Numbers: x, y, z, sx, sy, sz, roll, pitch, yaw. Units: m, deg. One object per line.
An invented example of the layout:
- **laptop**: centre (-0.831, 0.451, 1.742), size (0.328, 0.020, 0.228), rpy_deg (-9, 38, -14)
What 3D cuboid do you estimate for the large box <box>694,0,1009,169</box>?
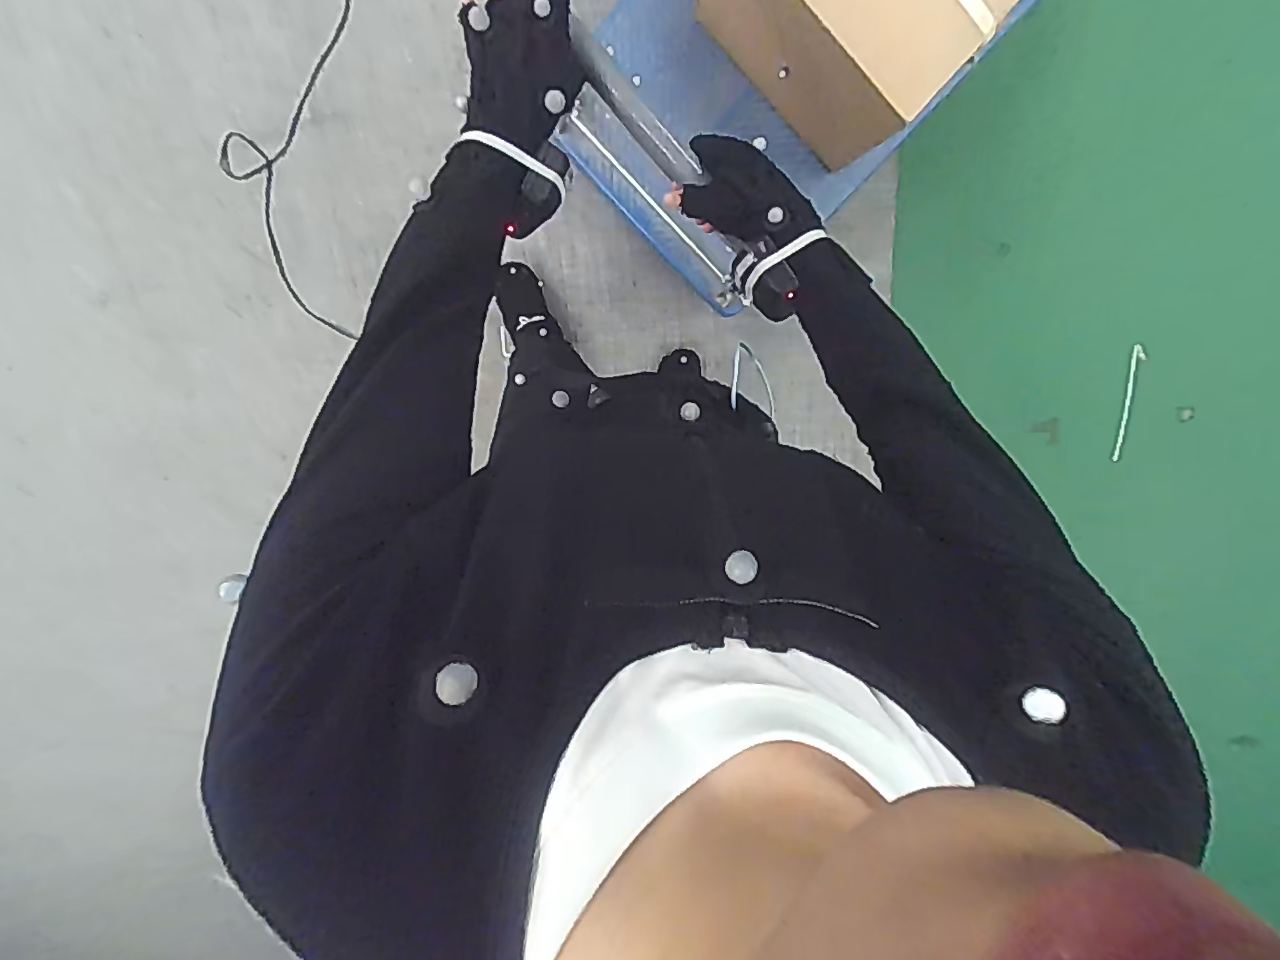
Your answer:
- **large box**: centre (0.350, -0.825, 0.909), size (0.408, 0.320, 0.320), rpy_deg (40, 101, -12)
